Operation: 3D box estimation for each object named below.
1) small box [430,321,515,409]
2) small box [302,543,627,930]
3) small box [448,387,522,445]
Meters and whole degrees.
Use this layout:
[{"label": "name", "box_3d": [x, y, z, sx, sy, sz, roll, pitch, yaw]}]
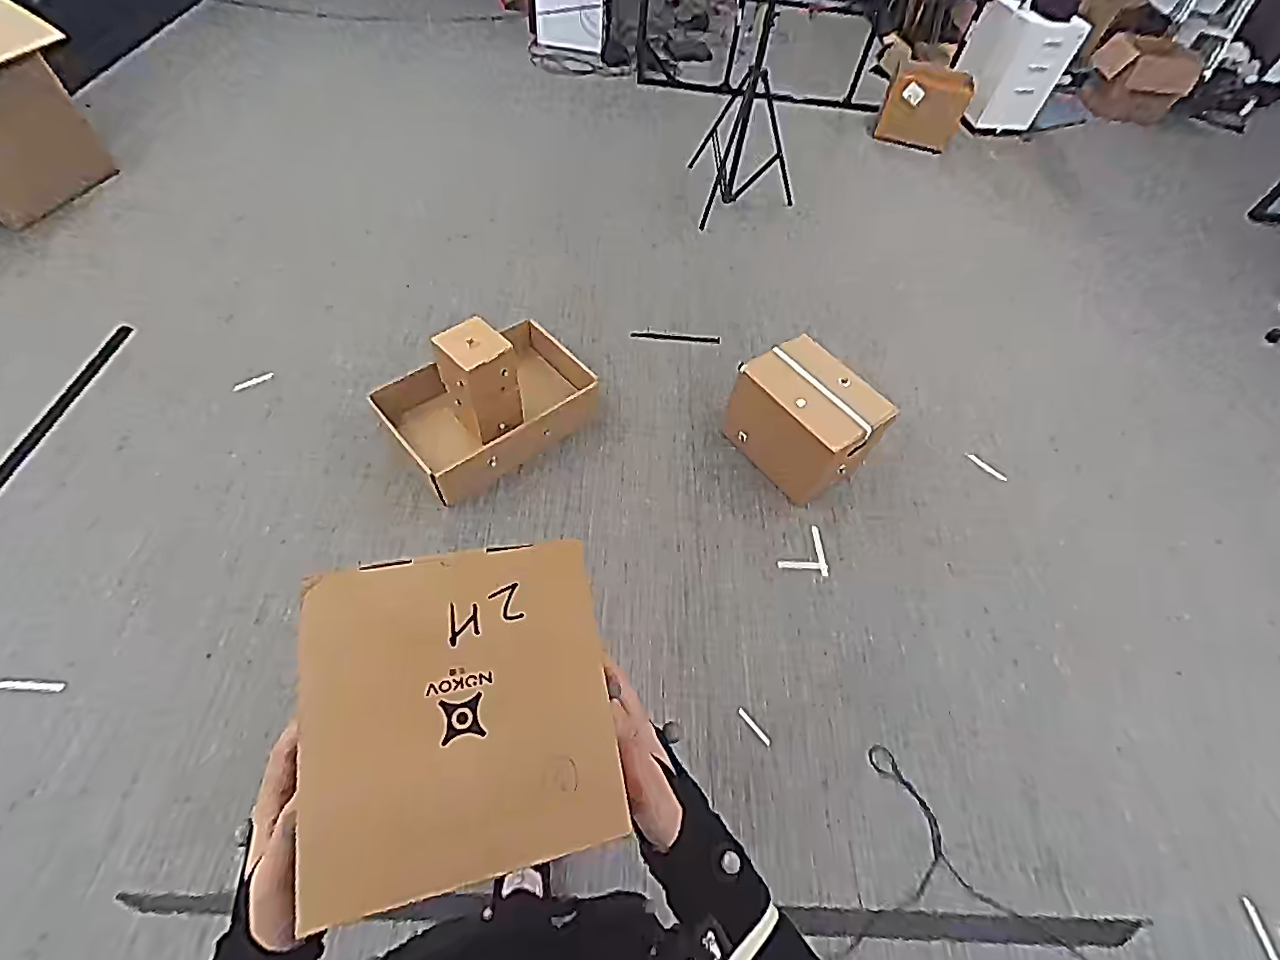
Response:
[{"label": "small box", "box_3d": [-0.492, -0.335, 1.614, 0.179, 0.176, 0.168, 39, 59, 20]}, {"label": "small box", "box_3d": [-0.118, 0.160, 0.380, 0.168, 0.176, 0.179, -6, 67, -17]}, {"label": "small box", "box_3d": [-0.502, -0.246, 1.749, 0.168, 0.176, 0.179, -36, 67, -26]}]
